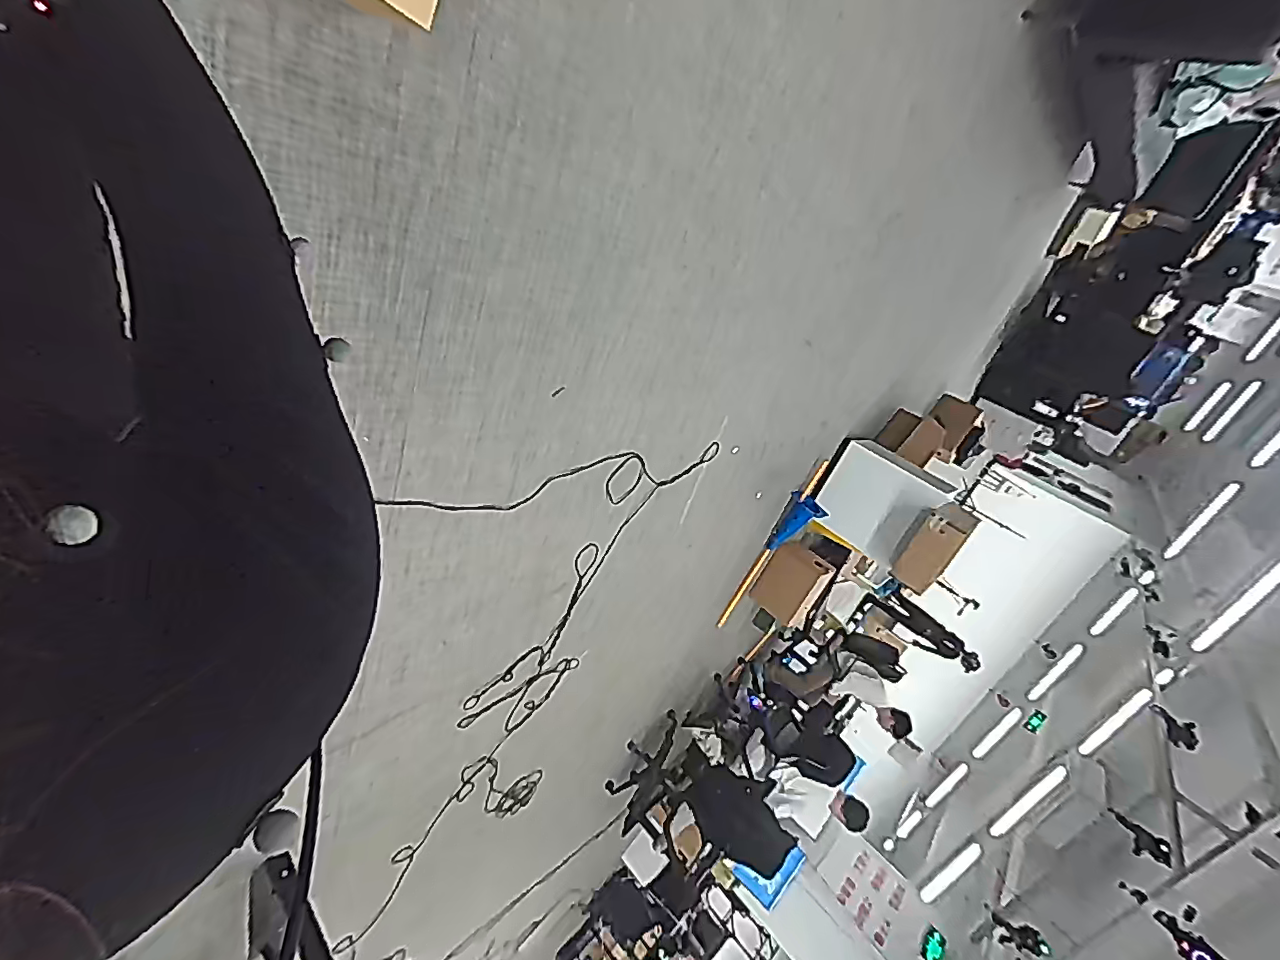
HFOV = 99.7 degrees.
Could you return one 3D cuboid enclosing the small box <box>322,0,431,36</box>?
[{"bbox_3d":[-0.313,-0.607,0.549,0.168,0.176,0.179,-3,125,-53],"label":"small box"}]
